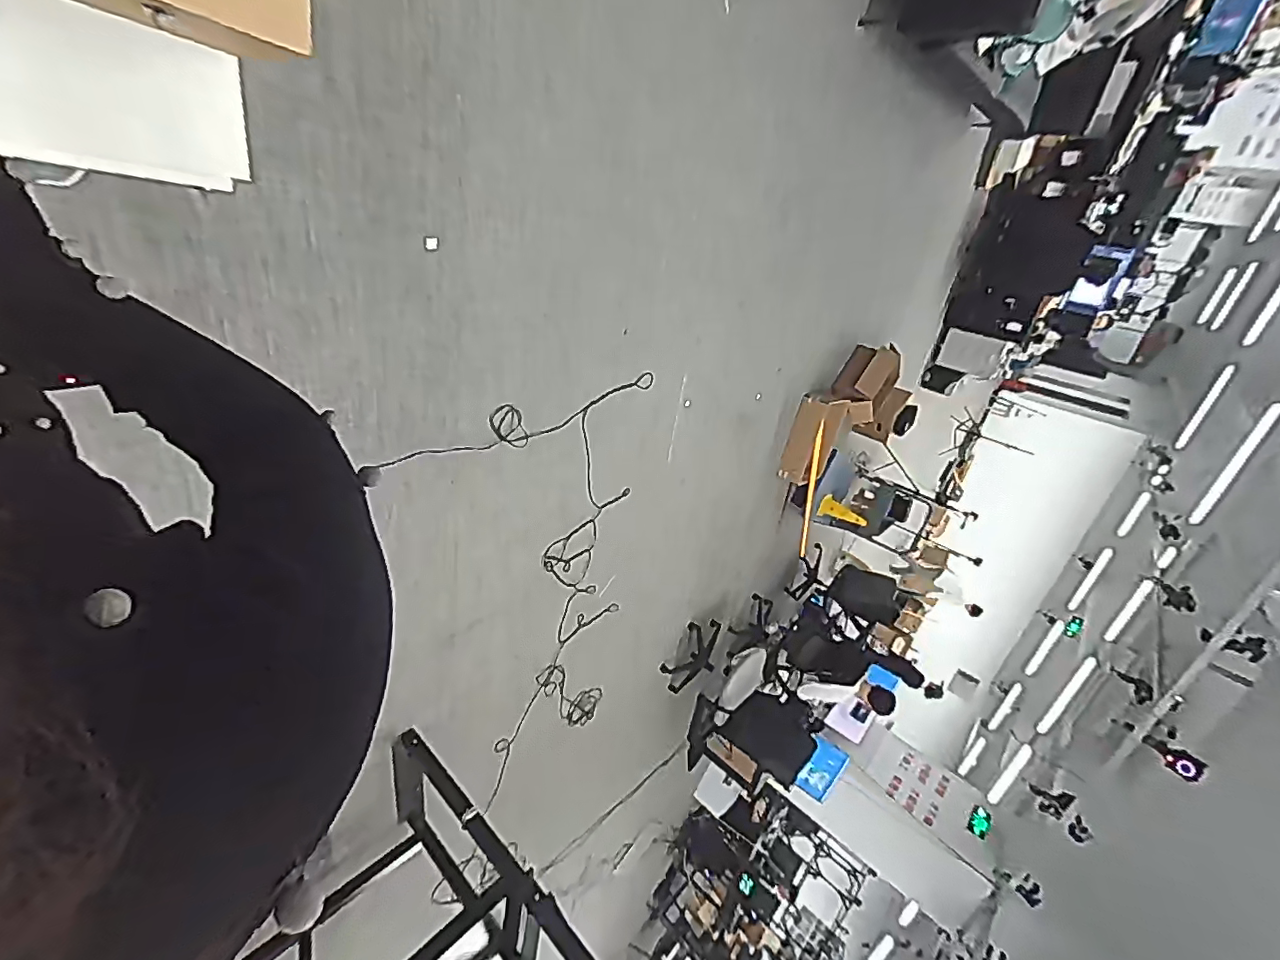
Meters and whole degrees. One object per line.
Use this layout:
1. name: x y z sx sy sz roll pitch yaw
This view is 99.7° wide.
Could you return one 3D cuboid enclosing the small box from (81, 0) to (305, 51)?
1. small box: -0.408 -0.484 0.448 0.179 0.176 0.168 -16 126 -48
